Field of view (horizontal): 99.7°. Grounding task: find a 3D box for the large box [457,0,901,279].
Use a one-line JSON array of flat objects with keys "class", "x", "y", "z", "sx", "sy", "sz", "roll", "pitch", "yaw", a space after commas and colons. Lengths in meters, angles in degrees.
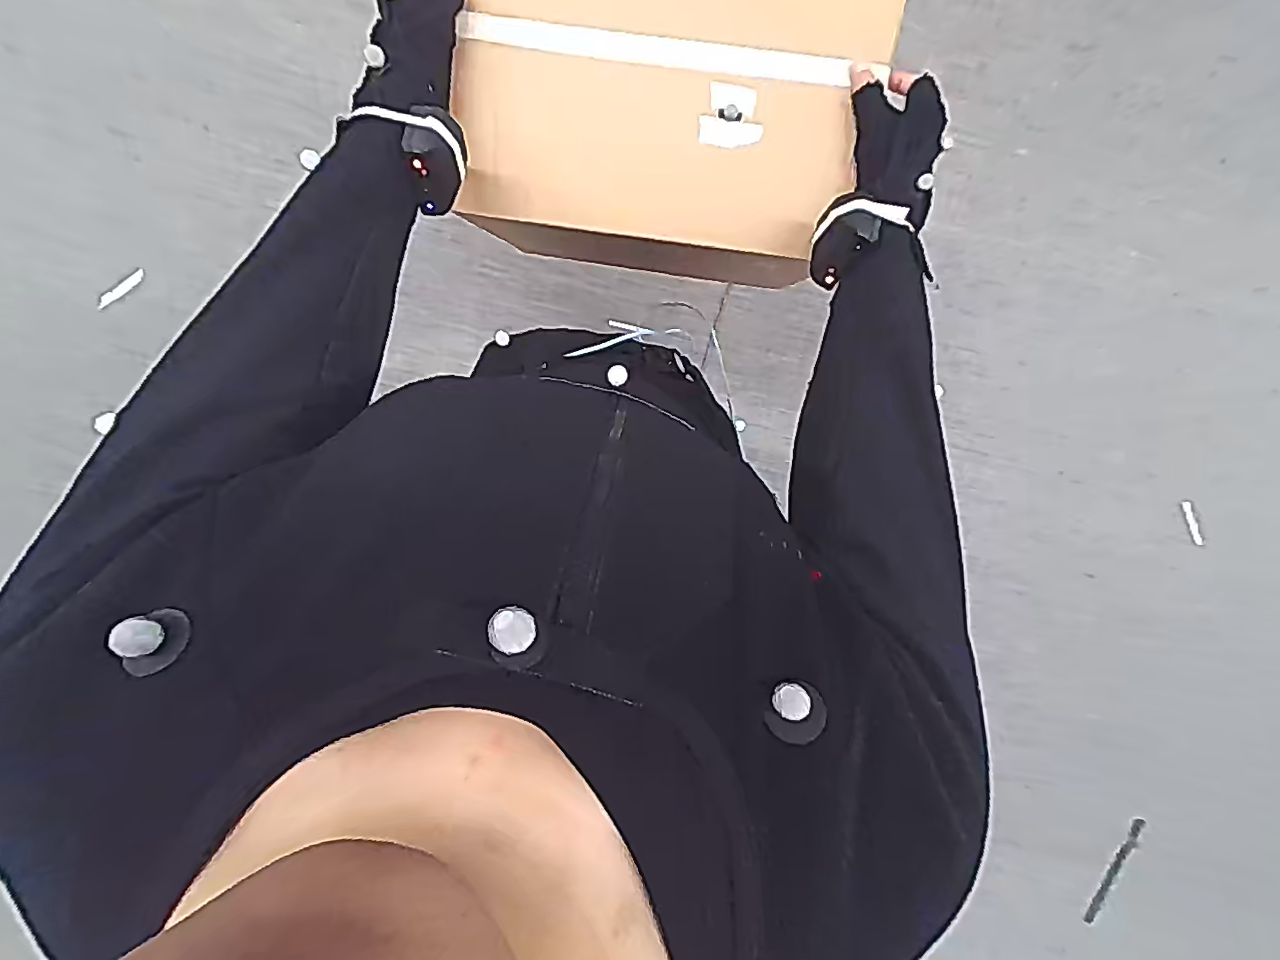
[{"class": "large box", "x": 0.034, "y": -0.439, "z": 0.645, "sx": 0.408, "sy": 0.320, "sz": 0.320, "roll": 8, "pitch": 107, "yaw": 0}]
